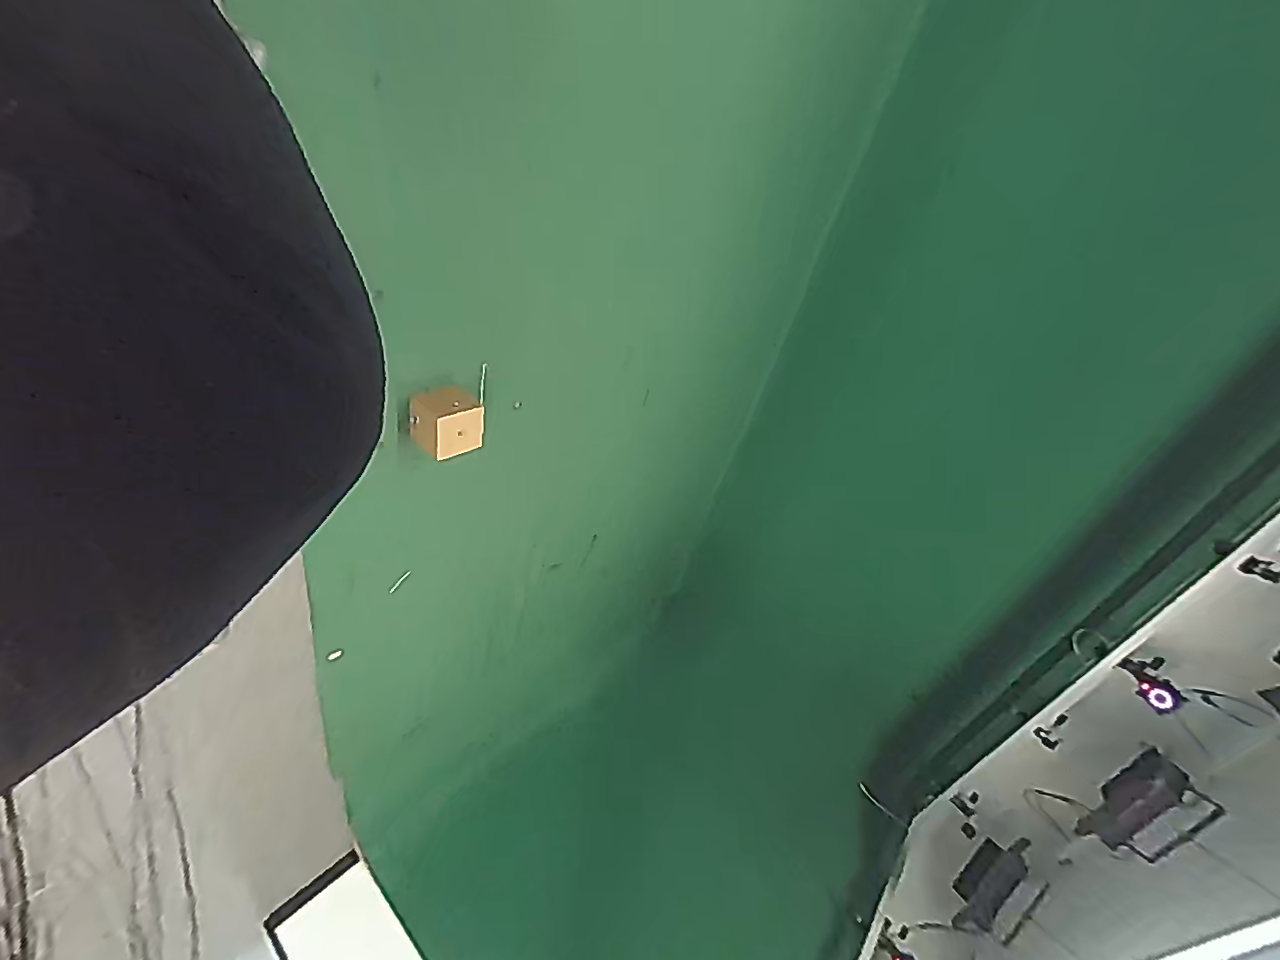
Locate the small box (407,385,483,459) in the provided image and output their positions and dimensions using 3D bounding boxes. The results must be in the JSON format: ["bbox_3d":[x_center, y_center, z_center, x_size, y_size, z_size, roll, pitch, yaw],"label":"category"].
[{"bbox_3d":[-0.652,-0.200,1.810,0.179,0.176,0.168,-27,142,-43],"label":"small box"}]
